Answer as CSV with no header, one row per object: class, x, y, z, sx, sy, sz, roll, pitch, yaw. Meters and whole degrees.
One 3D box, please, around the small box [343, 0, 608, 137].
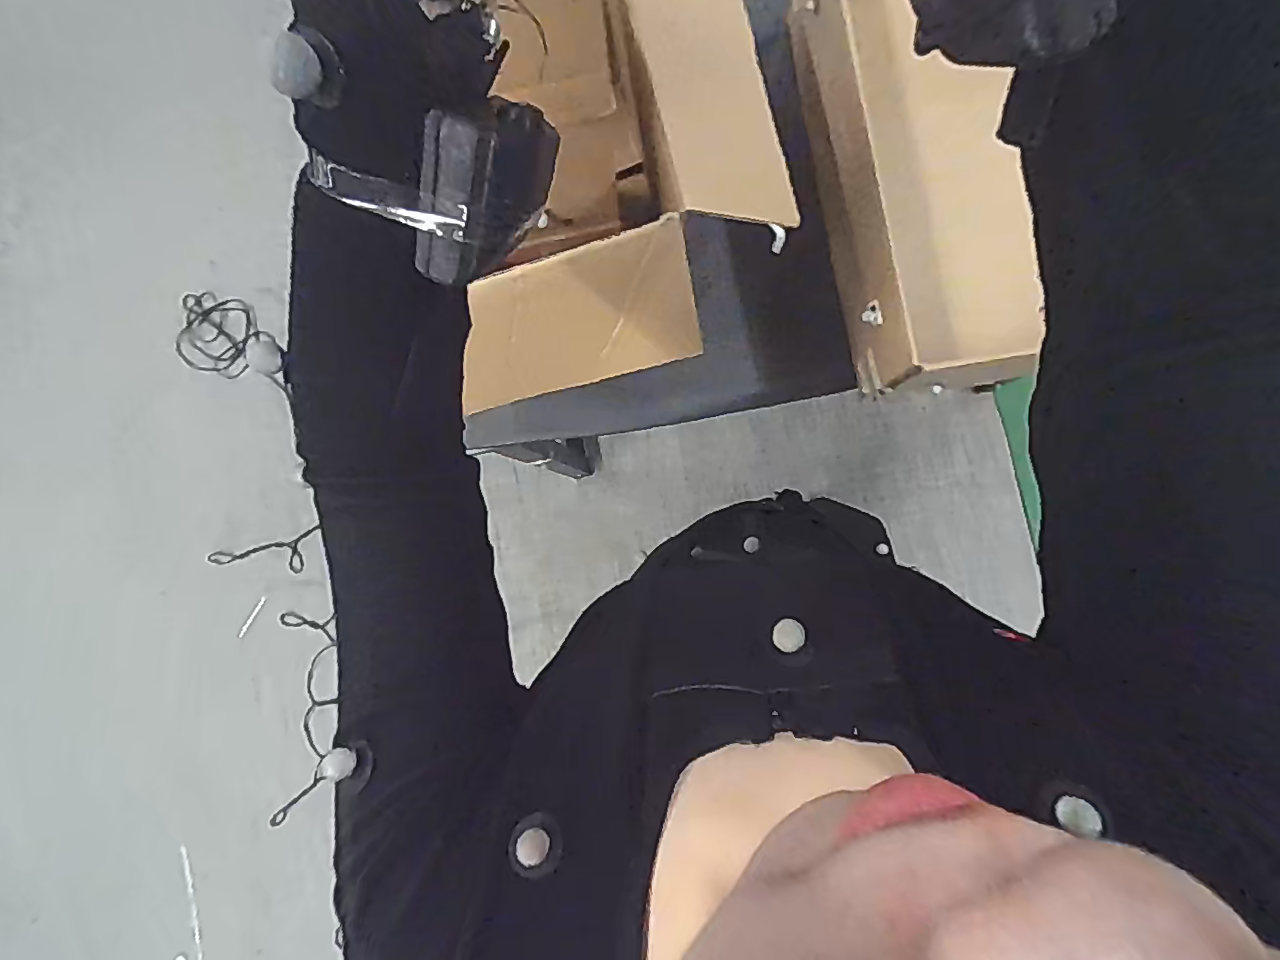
small box,-0.128,-0.397,0.406,0.179,0.176,0.168,-11,84,0
